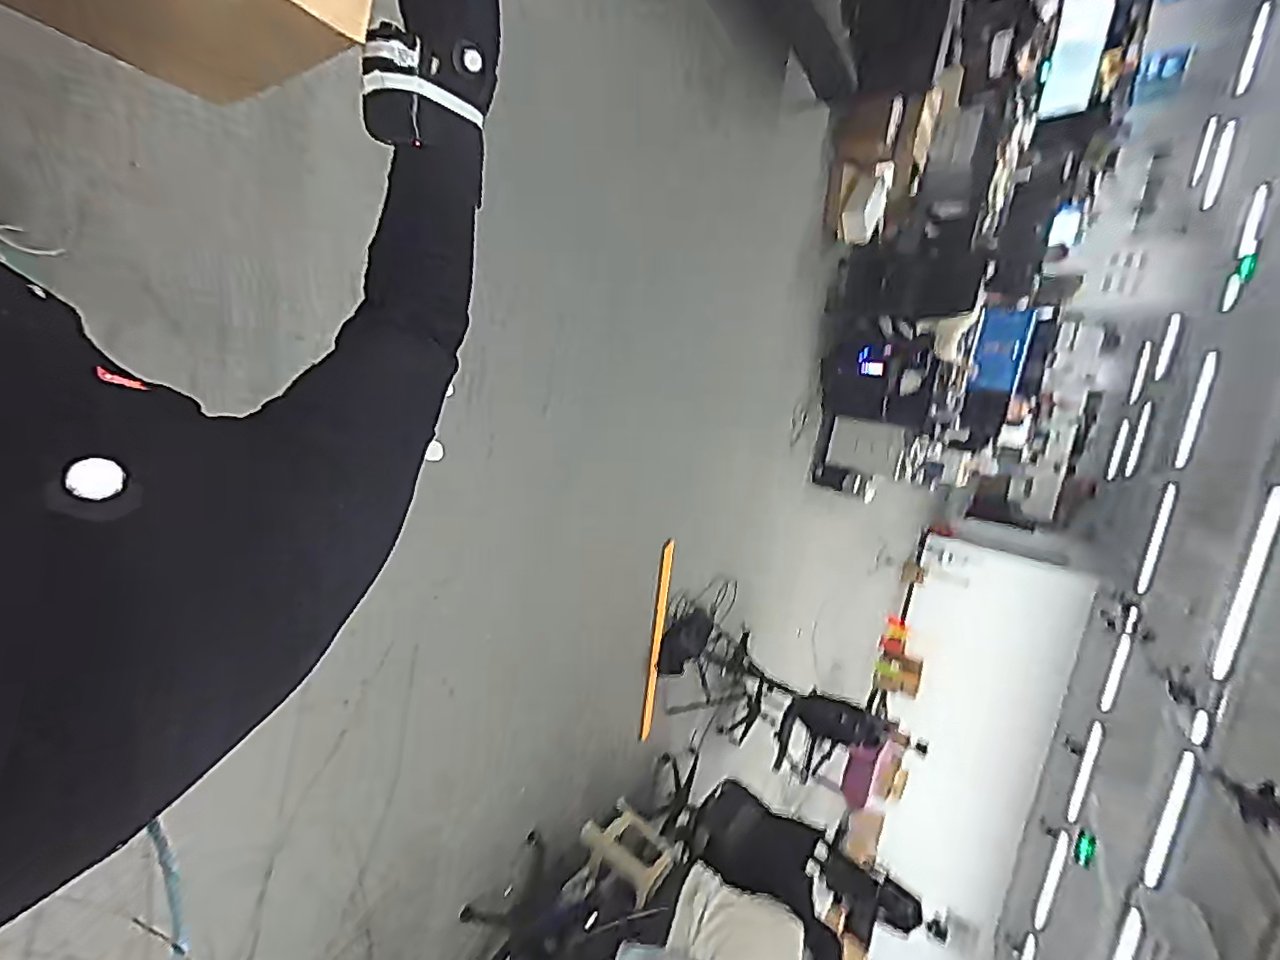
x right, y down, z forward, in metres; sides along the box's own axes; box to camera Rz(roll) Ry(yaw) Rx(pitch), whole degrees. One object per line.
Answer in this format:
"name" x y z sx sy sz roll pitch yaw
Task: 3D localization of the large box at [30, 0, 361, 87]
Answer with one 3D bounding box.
"large box" -0.390 -0.488 0.266 0.408 0.320 0.320 1 107 -51
